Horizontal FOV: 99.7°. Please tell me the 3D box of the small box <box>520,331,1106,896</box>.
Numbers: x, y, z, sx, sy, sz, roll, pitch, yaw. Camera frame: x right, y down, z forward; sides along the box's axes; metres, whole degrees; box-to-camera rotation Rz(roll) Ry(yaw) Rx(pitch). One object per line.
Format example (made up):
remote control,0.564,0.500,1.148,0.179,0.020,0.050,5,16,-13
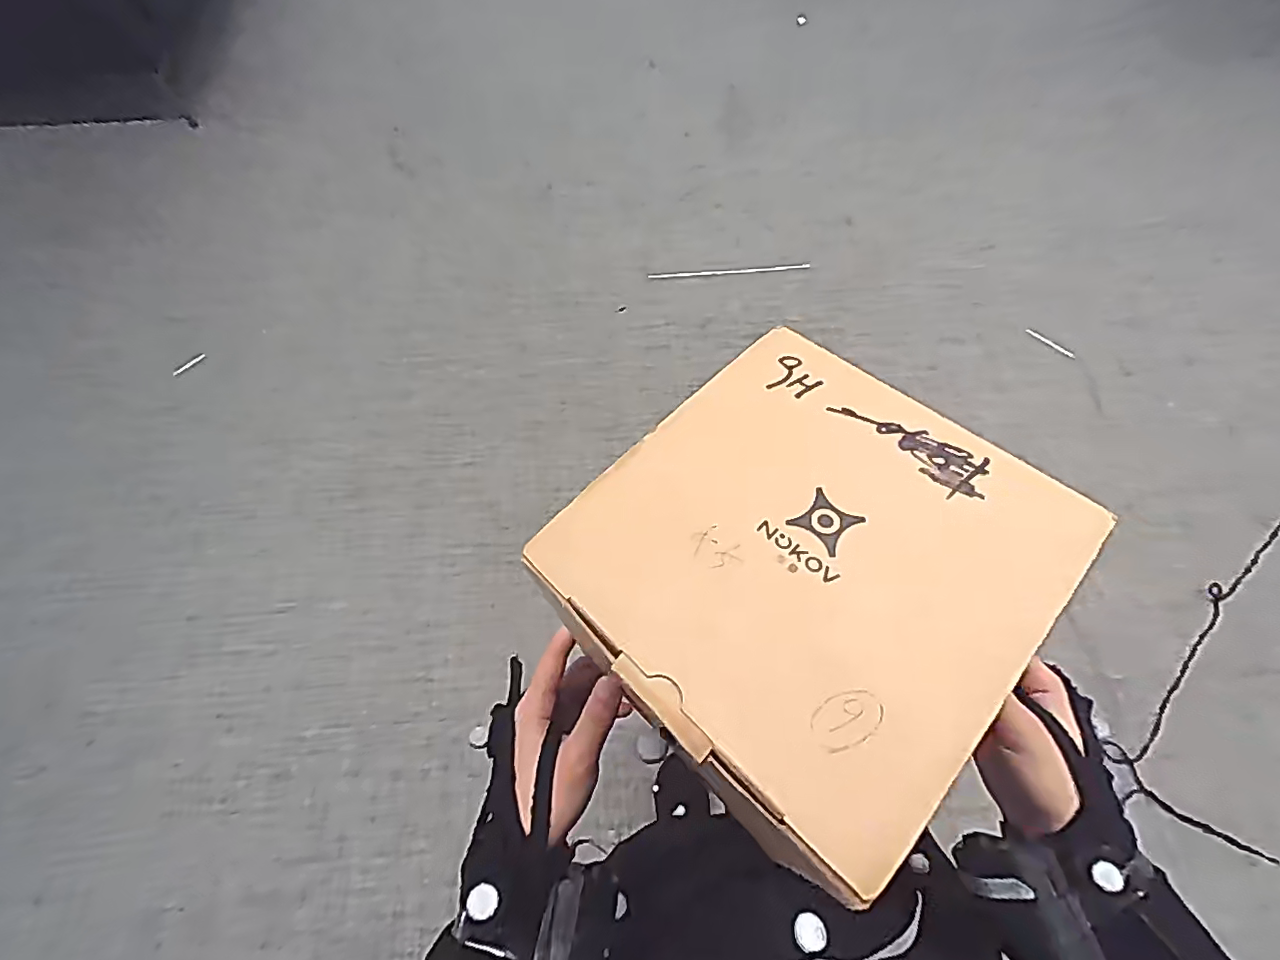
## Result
small box,0.072,0.065,0.285,0.179,0.176,0.168,-42,64,-18
